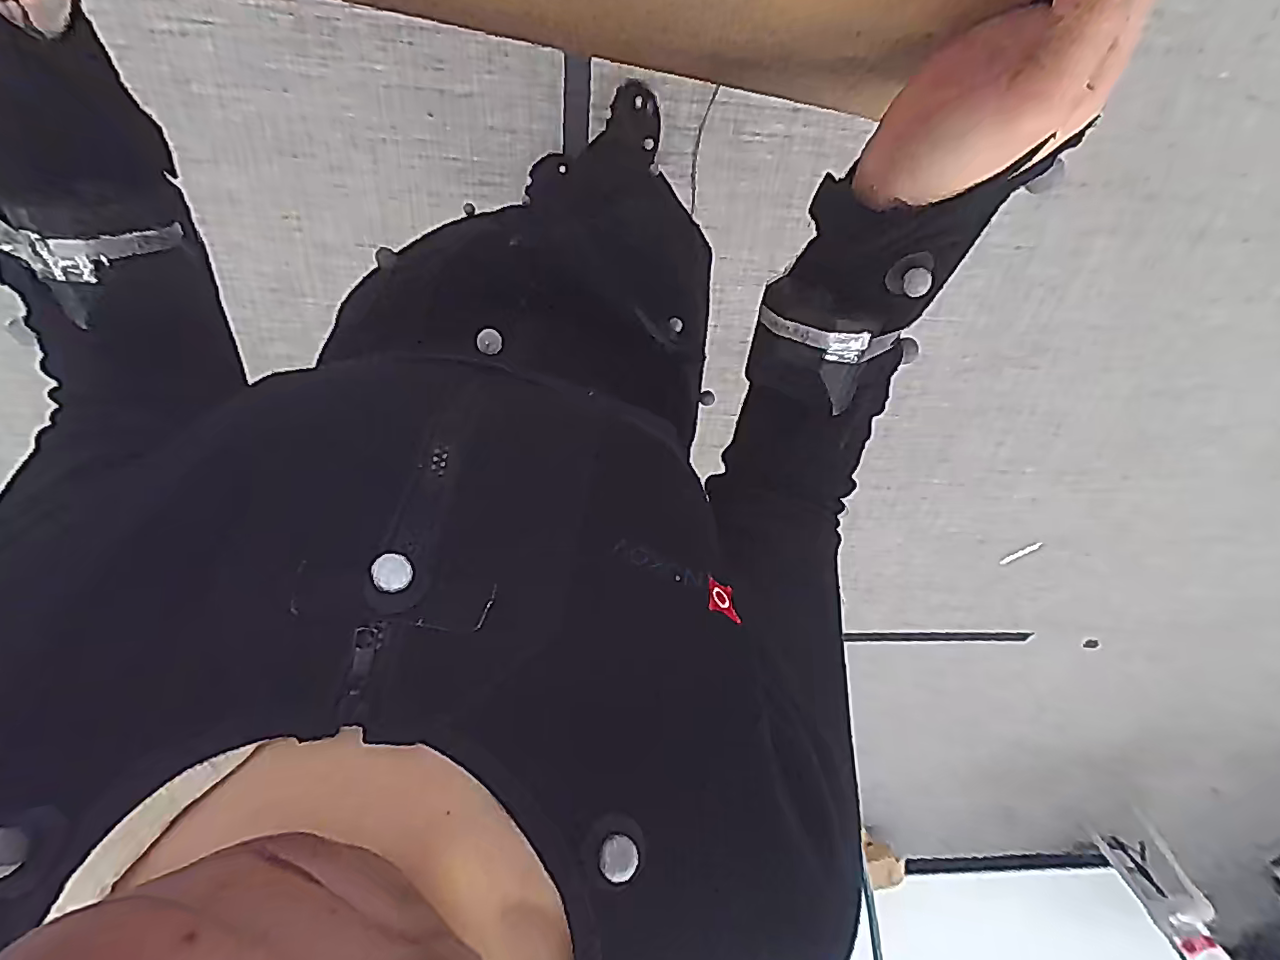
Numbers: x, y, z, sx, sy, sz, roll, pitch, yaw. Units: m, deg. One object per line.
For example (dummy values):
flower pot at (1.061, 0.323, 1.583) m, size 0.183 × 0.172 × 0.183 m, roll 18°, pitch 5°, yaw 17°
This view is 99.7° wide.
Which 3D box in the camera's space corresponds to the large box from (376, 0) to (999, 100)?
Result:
large box at (-0.017, -0.364, 0.125) m, size 0.408 × 0.320 × 0.320 m, roll 5°, pitch 102°, yaw -8°
